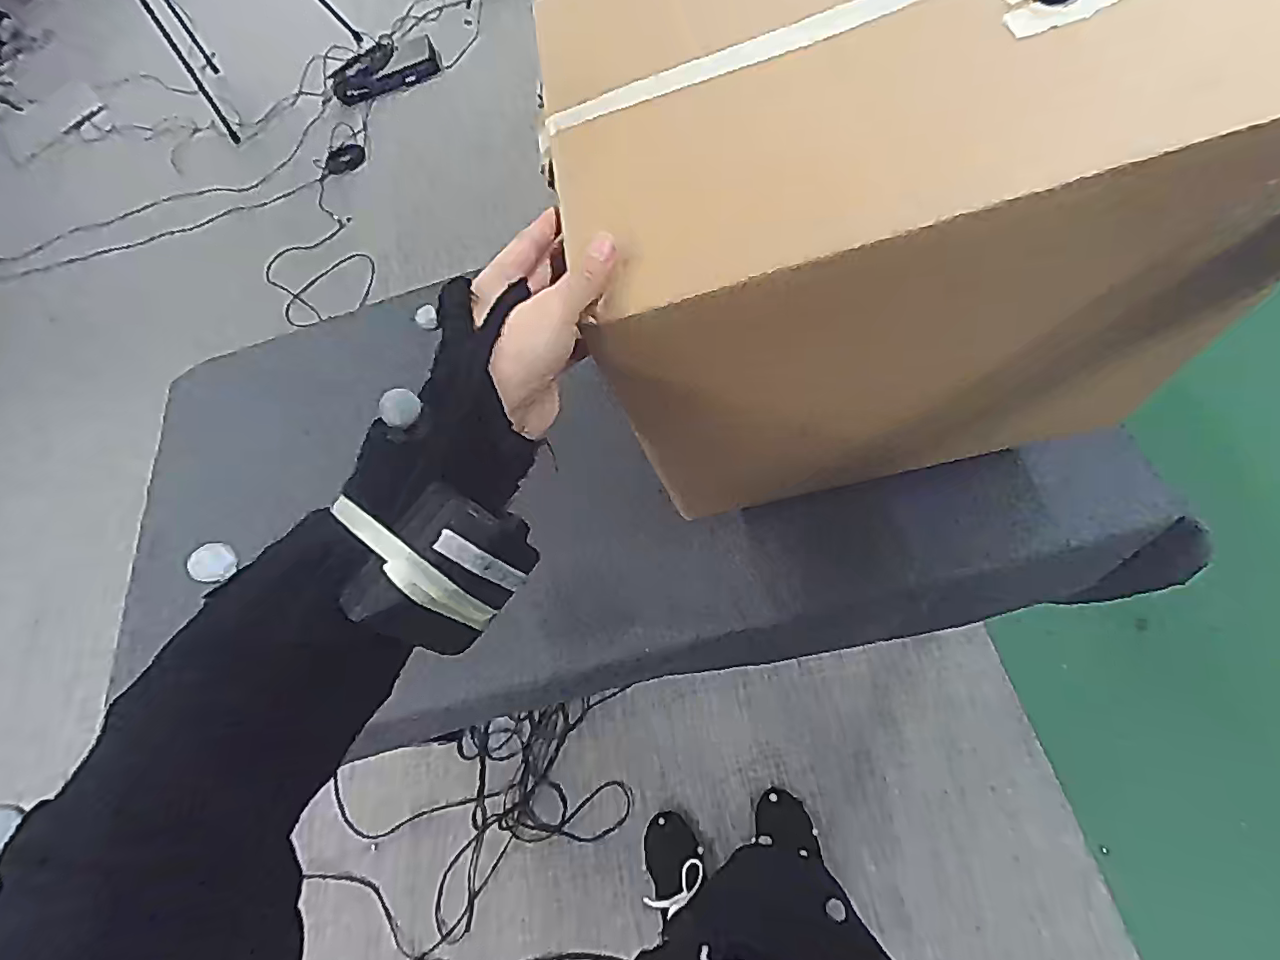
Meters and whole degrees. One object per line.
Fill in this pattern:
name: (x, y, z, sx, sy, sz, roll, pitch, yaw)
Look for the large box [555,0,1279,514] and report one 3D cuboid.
large box: (0.182, -0.201, 0.444, 0.408, 0.320, 0.320, -13, 65, 8)
